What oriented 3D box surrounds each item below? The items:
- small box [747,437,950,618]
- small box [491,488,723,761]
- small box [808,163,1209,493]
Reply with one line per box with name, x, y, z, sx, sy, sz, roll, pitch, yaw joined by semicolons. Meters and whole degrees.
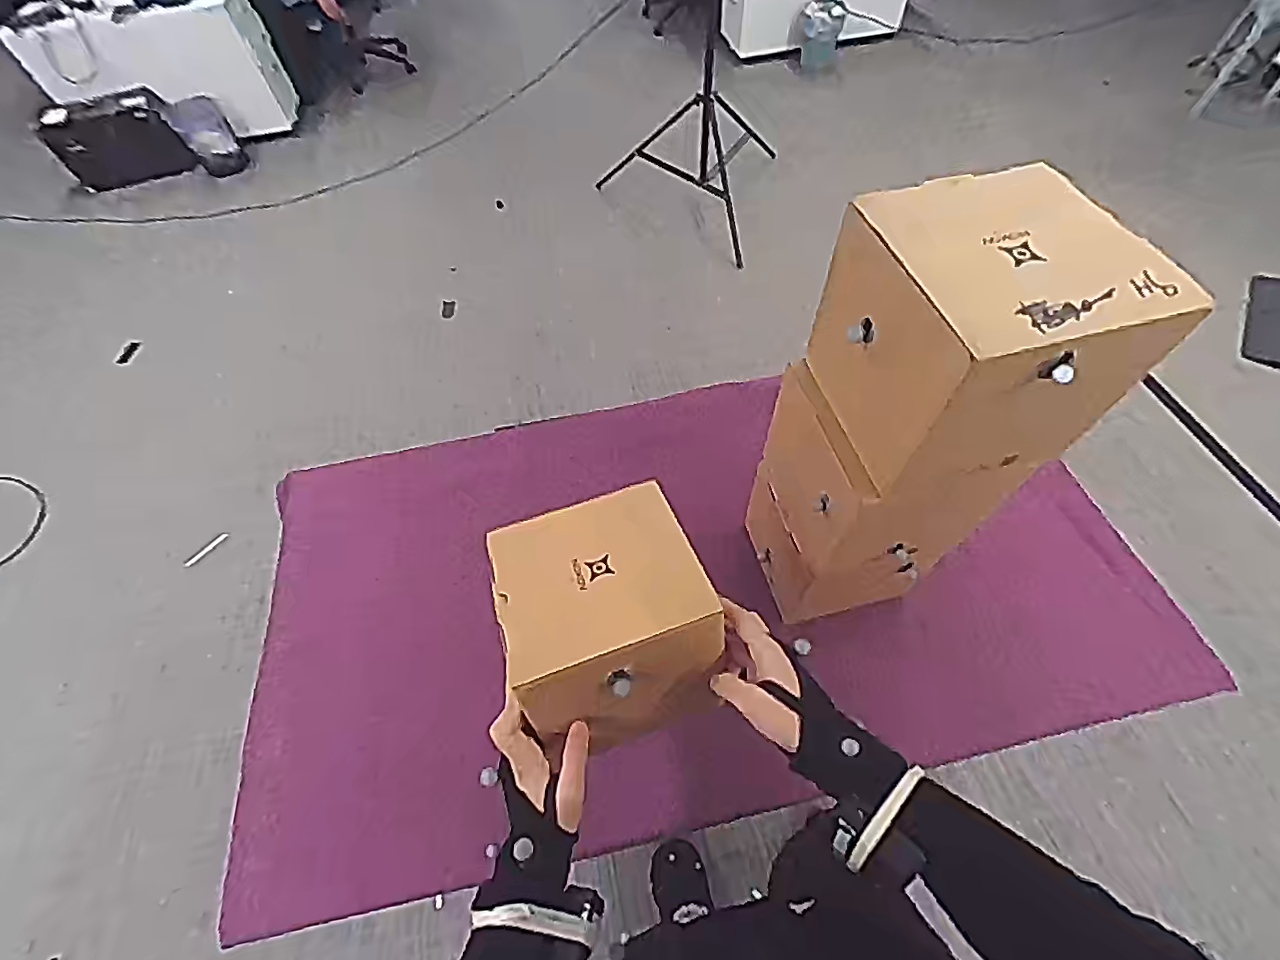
small box;0.255;0.063;0.711;0.179;0.176;0.168;-14;57;-4
small box;-0.030;0.141;0.533;0.179;0.176;0.168;-18;42;-8
small box;0.255;-0.116;0.436;0.168;0.176;0.179;-13;58;-4
